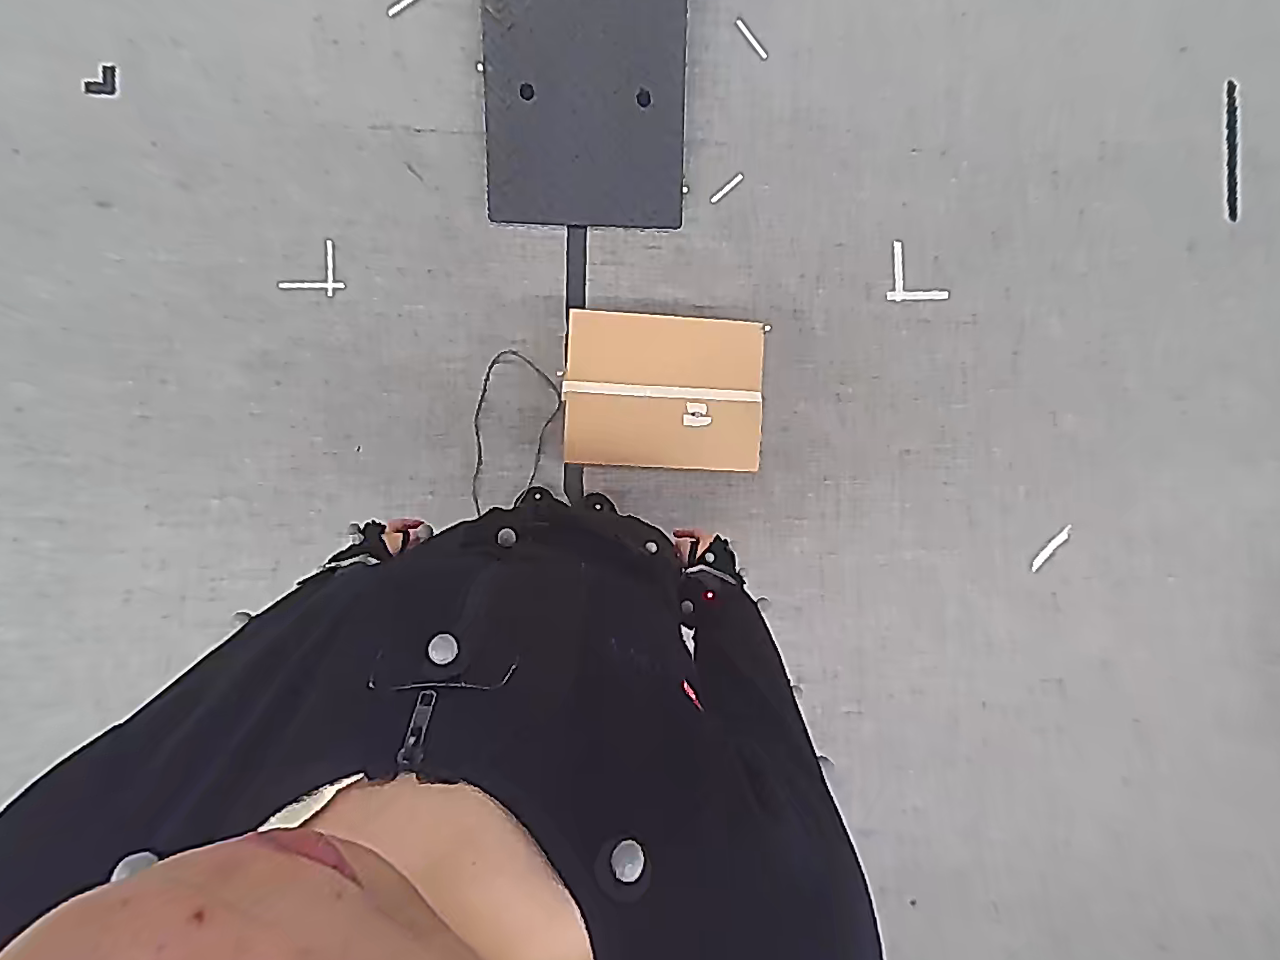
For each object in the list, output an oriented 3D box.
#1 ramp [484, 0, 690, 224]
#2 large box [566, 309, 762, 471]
[{"bbox_3d":[-0.120,-1.151,1.286,0.509,0.206,0.991,-1,91,-6],"label":"ramp"},{"bbox_3d":[0.037,-0.183,1.252,0.408,0.320,0.320,3,90,-6],"label":"large box"}]
